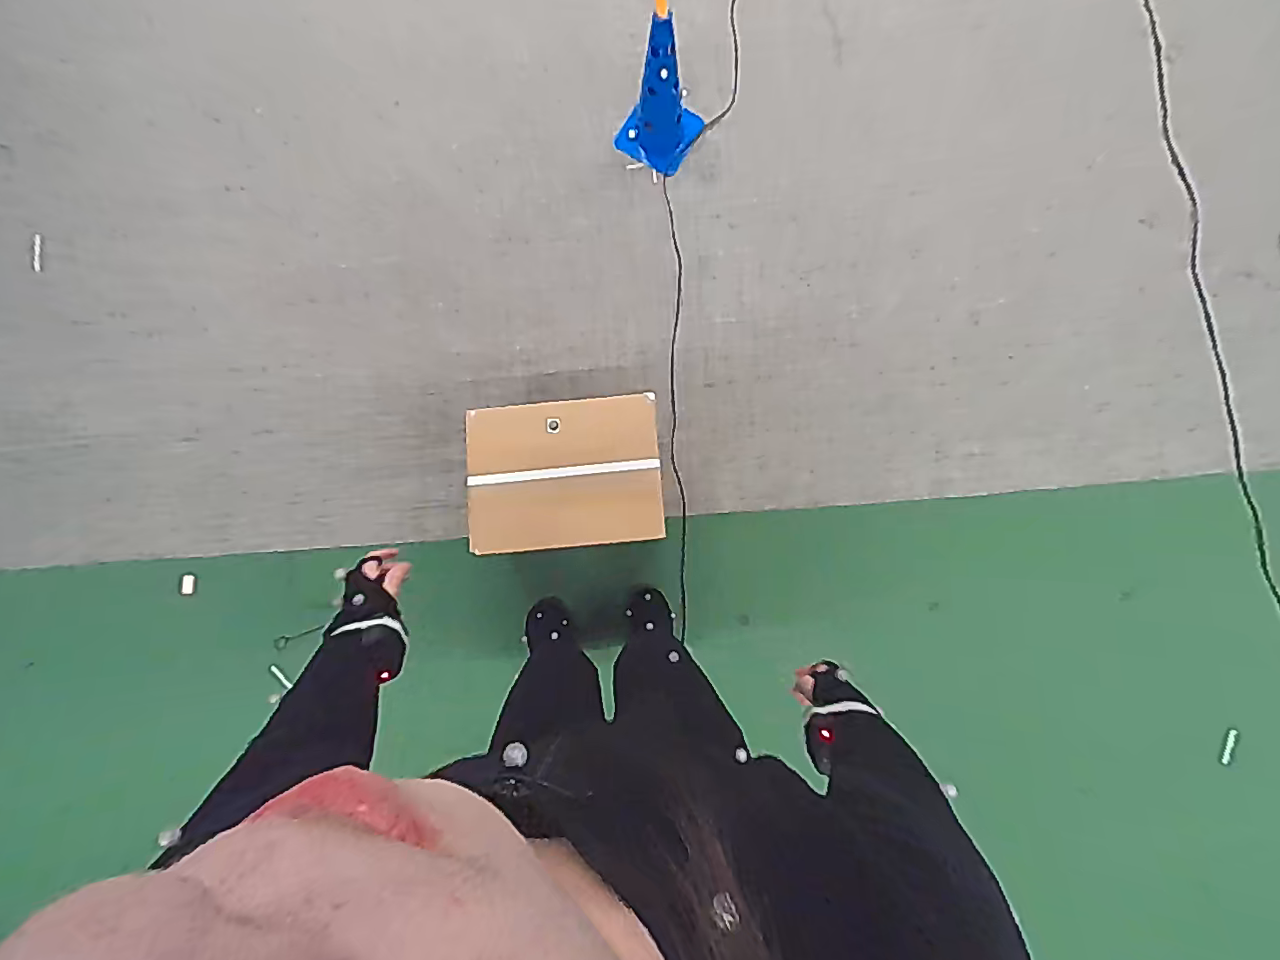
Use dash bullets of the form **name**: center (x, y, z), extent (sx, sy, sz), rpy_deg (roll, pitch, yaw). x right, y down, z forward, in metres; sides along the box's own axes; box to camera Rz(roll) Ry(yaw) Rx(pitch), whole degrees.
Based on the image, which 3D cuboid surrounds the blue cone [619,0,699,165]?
- **blue cone**: center (0.051, -0.994, 1.338), extent (0.192, 0.380, 0.193), rpy_deg (28, 87, 4)
